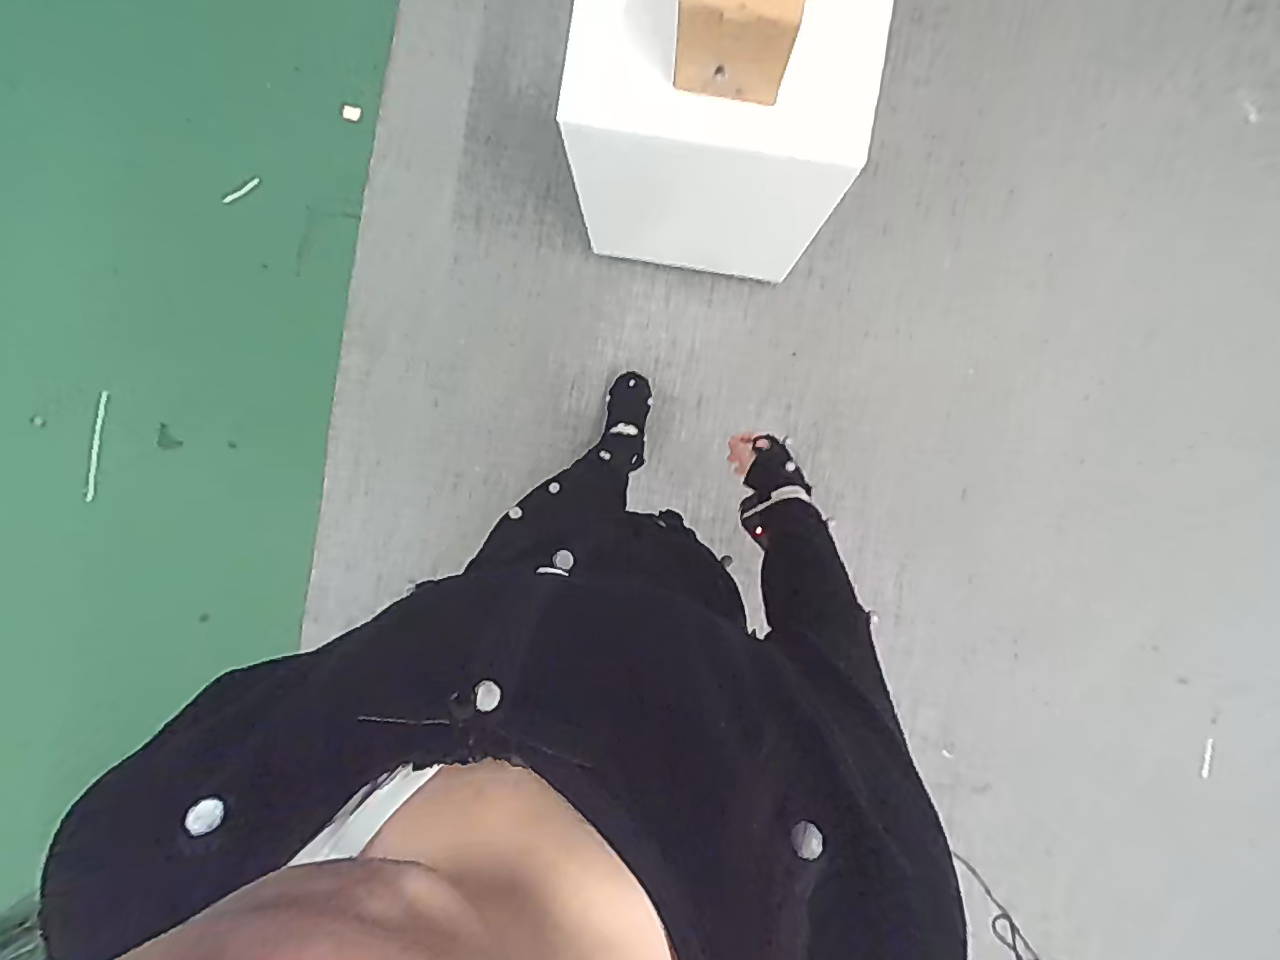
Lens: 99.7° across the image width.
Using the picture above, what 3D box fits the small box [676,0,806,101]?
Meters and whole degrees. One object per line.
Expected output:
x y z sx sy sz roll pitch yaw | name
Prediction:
0.147 -0.696 0.775 0.168 0.176 0.179 10 91 1 | small box
